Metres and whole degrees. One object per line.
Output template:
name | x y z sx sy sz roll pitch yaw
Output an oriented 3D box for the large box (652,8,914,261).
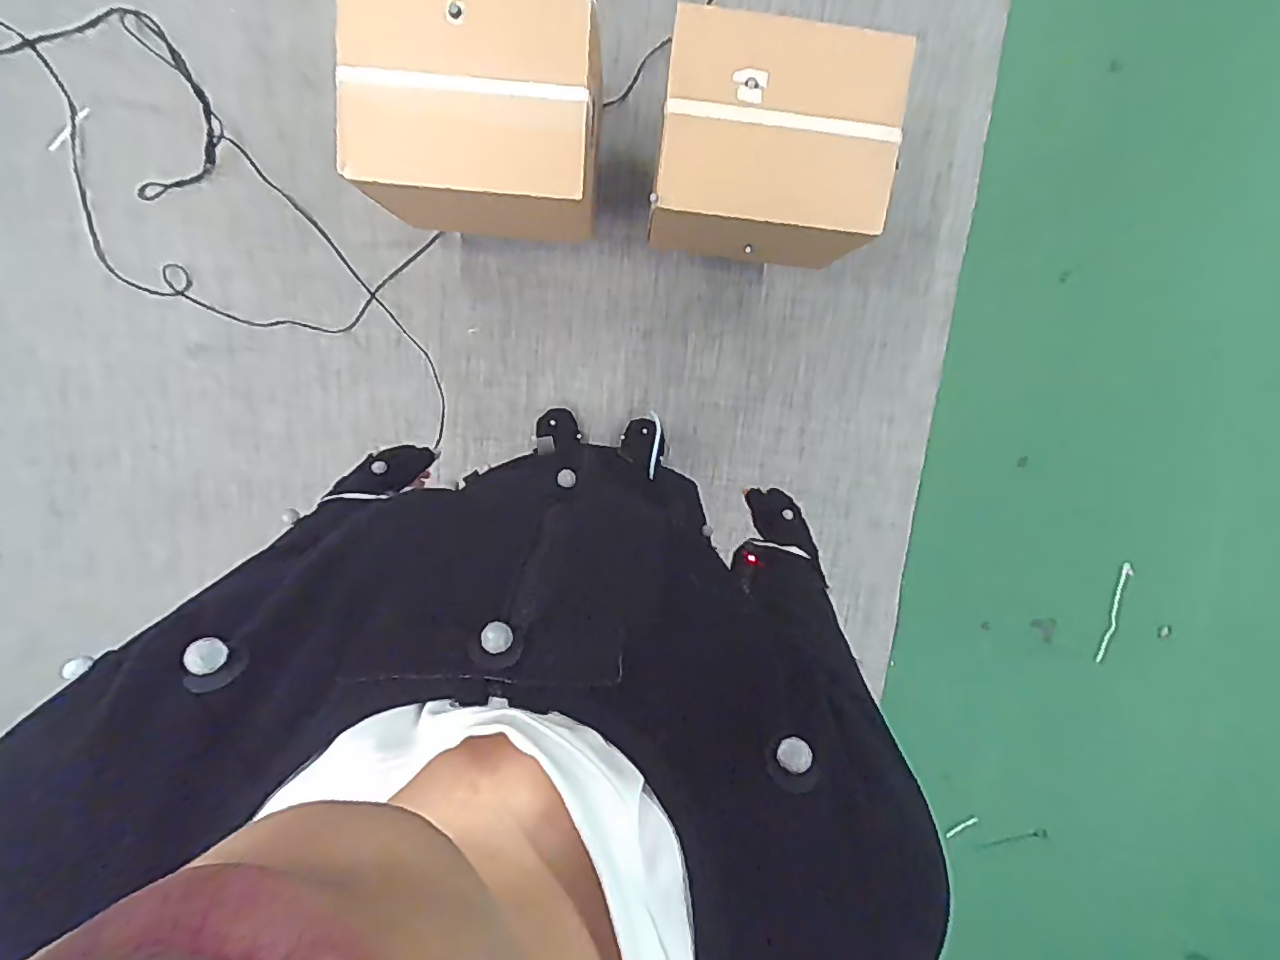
large box | 0.243 -0.637 1.066 0.408 0.320 0.320 6 101 -3
